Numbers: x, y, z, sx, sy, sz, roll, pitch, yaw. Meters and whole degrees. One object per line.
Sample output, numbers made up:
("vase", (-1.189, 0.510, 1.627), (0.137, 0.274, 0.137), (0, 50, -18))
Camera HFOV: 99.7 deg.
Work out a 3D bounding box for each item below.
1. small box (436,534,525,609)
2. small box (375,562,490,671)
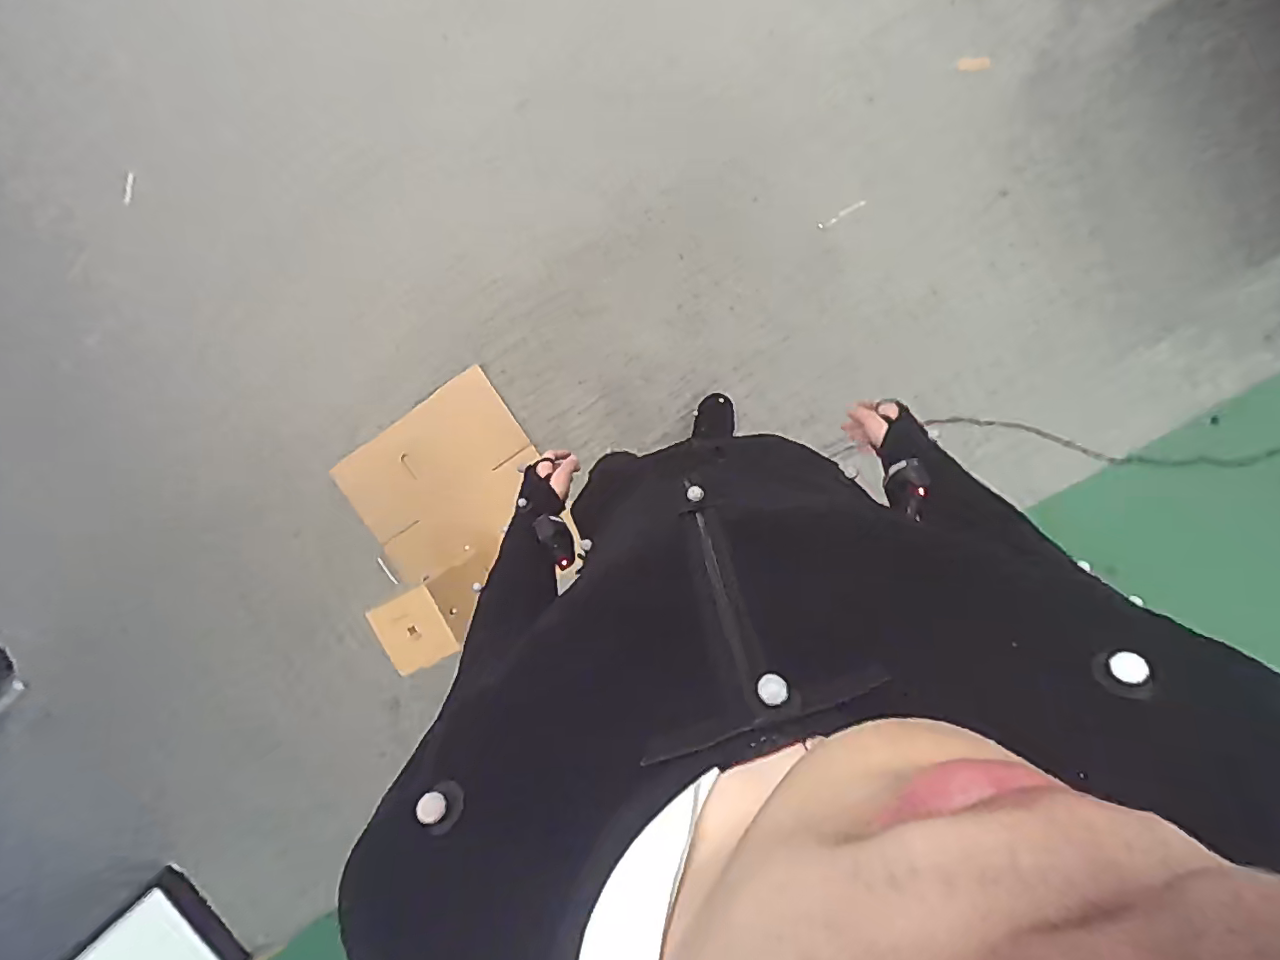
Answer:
("small box", (-0.477, 0.289, 1.650), (0.168, 0.176, 0.179), (-28, 94, 9))
("small box", (-0.498, 0.326, 1.325), (0.168, 0.176, 0.179), (-26, 95, 8))
